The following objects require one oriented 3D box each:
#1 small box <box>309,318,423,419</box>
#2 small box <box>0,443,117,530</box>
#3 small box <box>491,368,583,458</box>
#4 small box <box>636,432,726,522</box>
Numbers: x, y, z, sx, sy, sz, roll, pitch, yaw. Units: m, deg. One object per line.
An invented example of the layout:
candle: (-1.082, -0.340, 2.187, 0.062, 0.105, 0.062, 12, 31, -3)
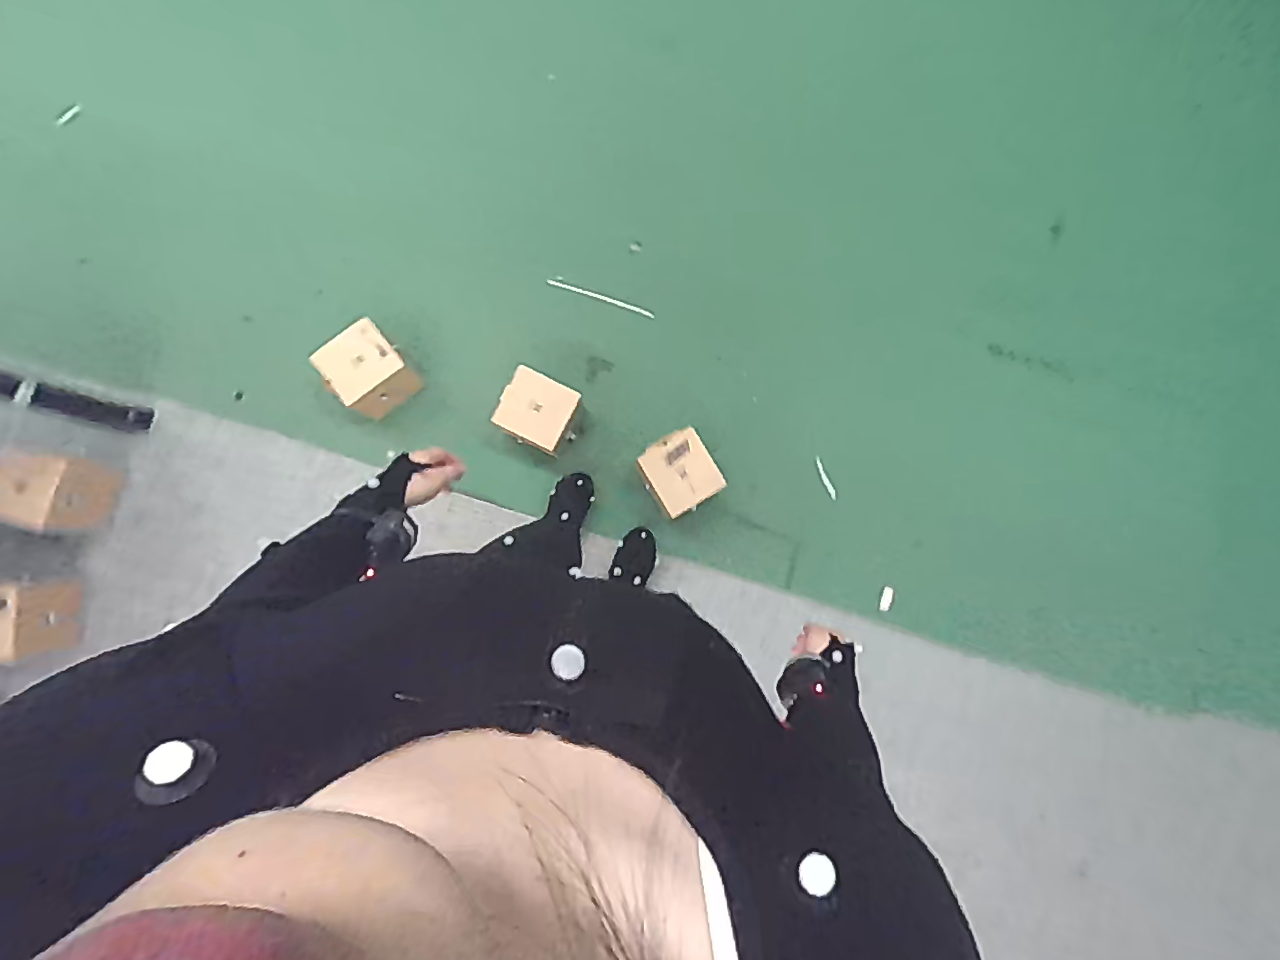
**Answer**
small box: (-0.708, -0.283, 1.419, 0.179, 0.176, 0.168, -38, 87, -4)
small box: (-1.485, 0.020, 1.357, 0.168, 0.176, 0.179, 16, 84, -2)
small box: (-0.264, -0.167, 1.427, 0.179, 0.176, 0.168, 27, 85, -2)
small box: (0.100, -0.001, 1.426, 0.168, 0.176, 0.179, -31, 88, -5)
